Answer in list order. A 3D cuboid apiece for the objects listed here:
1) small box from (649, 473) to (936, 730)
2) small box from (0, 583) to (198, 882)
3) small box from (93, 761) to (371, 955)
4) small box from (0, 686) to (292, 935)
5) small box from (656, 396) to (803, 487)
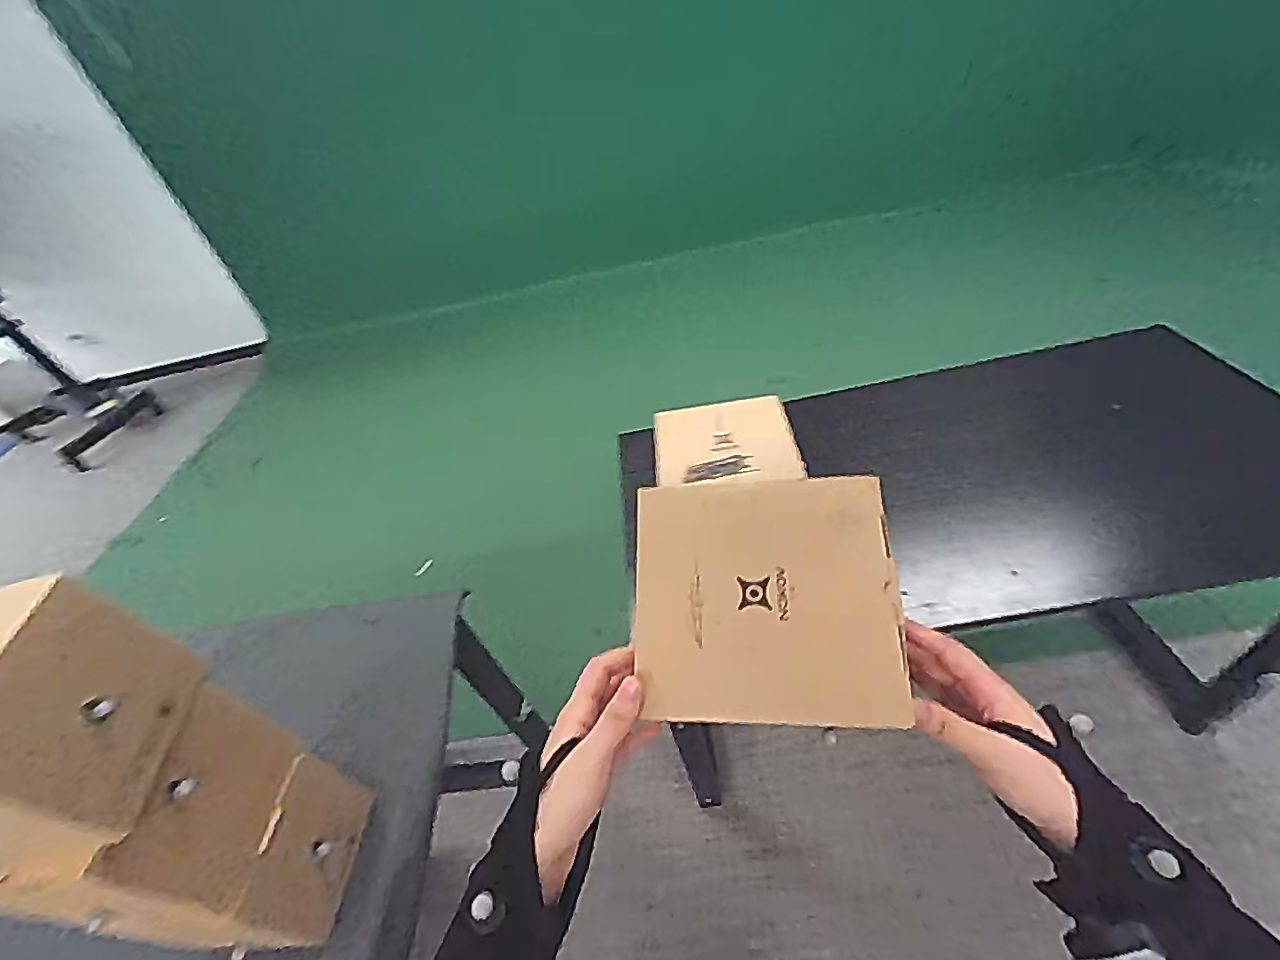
[{"bbox_3d":[0.111,0.104,0.436,0.179,0.176,0.168,-4,67,13],"label":"small box"},{"bbox_3d":[-0.536,0.219,0.453,0.179,0.176,0.168,-17,42,1],"label":"small box"},{"bbox_3d":[-0.470,0.464,0.662,0.179,0.176,0.168,-9,43,8],"label":"small box"},{"bbox_3d":[-0.507,0.342,0.560,0.168,0.176,0.179,-11,43,7],"label":"small box"},{"bbox_3d":[0.117,0.016,0.716,0.168,0.176,0.179,-8,42,6],"label":"small box"}]
